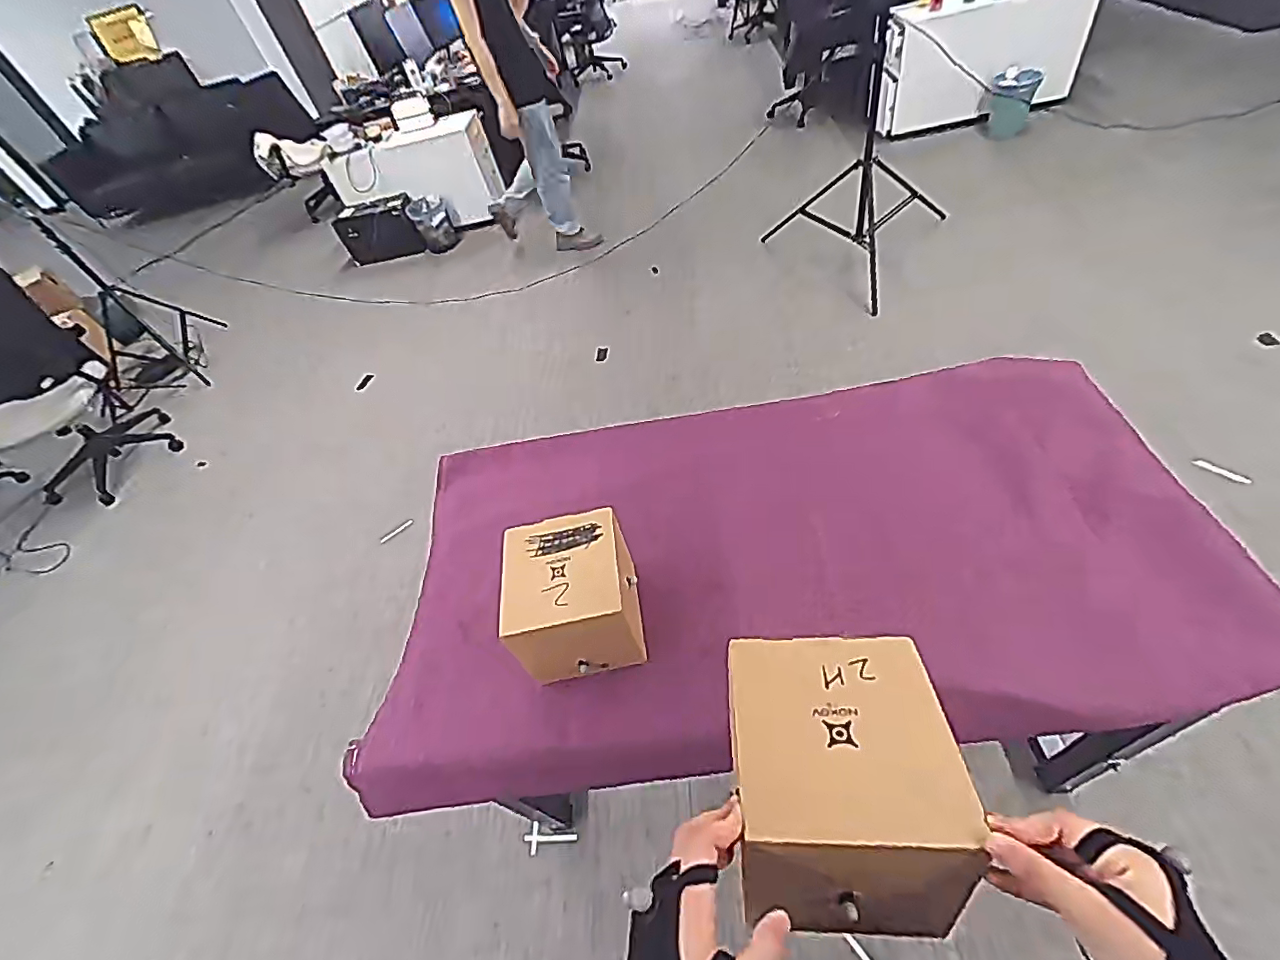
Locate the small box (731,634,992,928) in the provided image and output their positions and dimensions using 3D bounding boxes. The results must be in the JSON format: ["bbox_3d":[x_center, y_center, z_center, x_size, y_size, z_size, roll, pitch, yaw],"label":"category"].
[{"bbox_3d":[0.170,0.261,0.478,0.168,0.176,0.179,-3,33,7],"label":"small box"}]
